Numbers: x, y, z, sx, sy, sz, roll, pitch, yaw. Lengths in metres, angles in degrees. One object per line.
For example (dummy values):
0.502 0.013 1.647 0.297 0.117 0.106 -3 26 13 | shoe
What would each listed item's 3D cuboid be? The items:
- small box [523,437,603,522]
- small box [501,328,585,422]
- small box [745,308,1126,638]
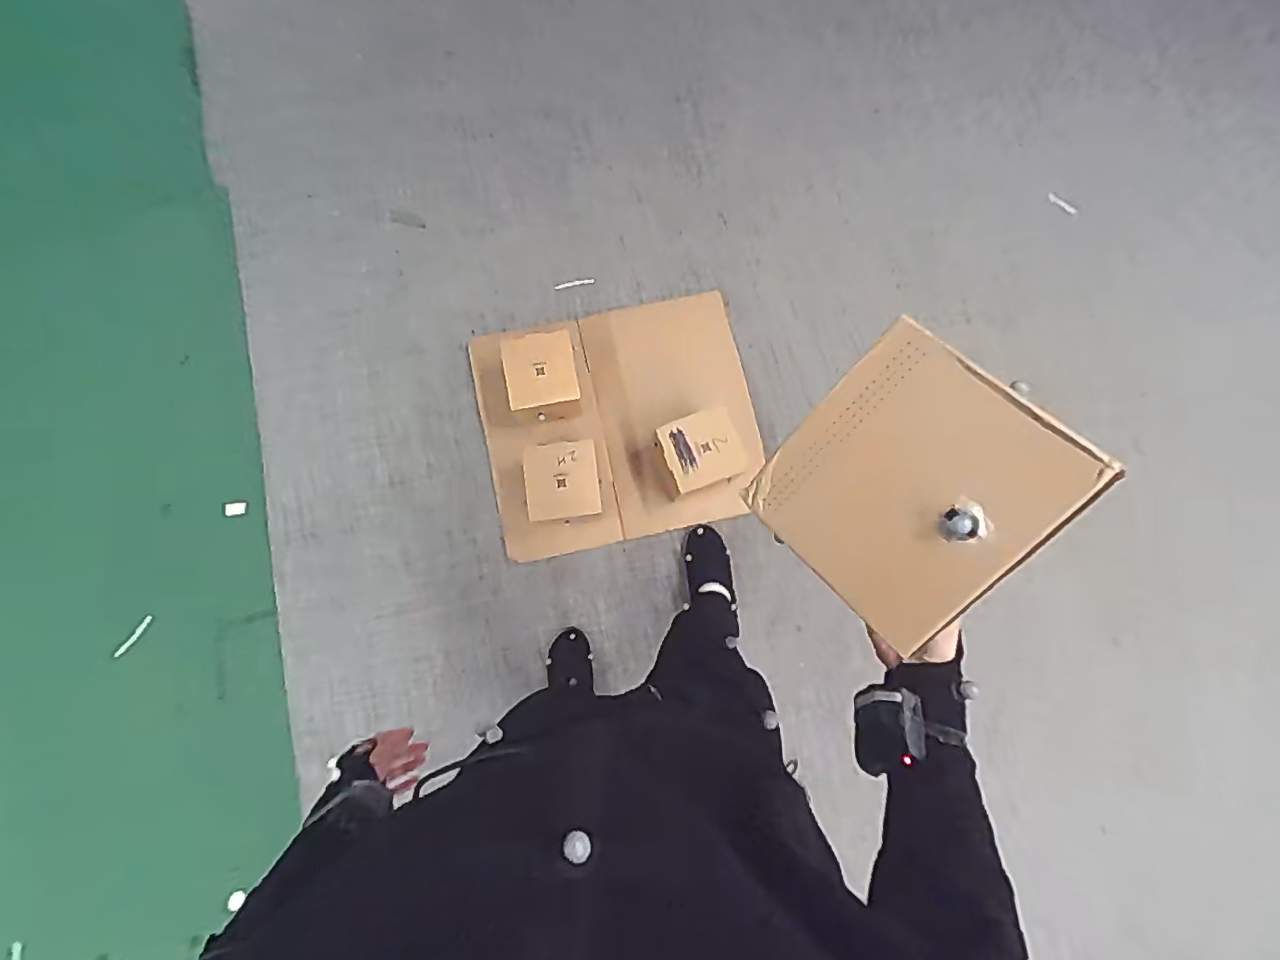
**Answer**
-0.179 0.006 1.293 0.168 0.176 0.179 -6 81 -3 | small box
-0.233 -0.250 1.334 0.168 0.176 0.179 -10 81 -4 | small box
0.217 -0.008 0.439 0.176 0.168 0.179 46 109 22 | small box
